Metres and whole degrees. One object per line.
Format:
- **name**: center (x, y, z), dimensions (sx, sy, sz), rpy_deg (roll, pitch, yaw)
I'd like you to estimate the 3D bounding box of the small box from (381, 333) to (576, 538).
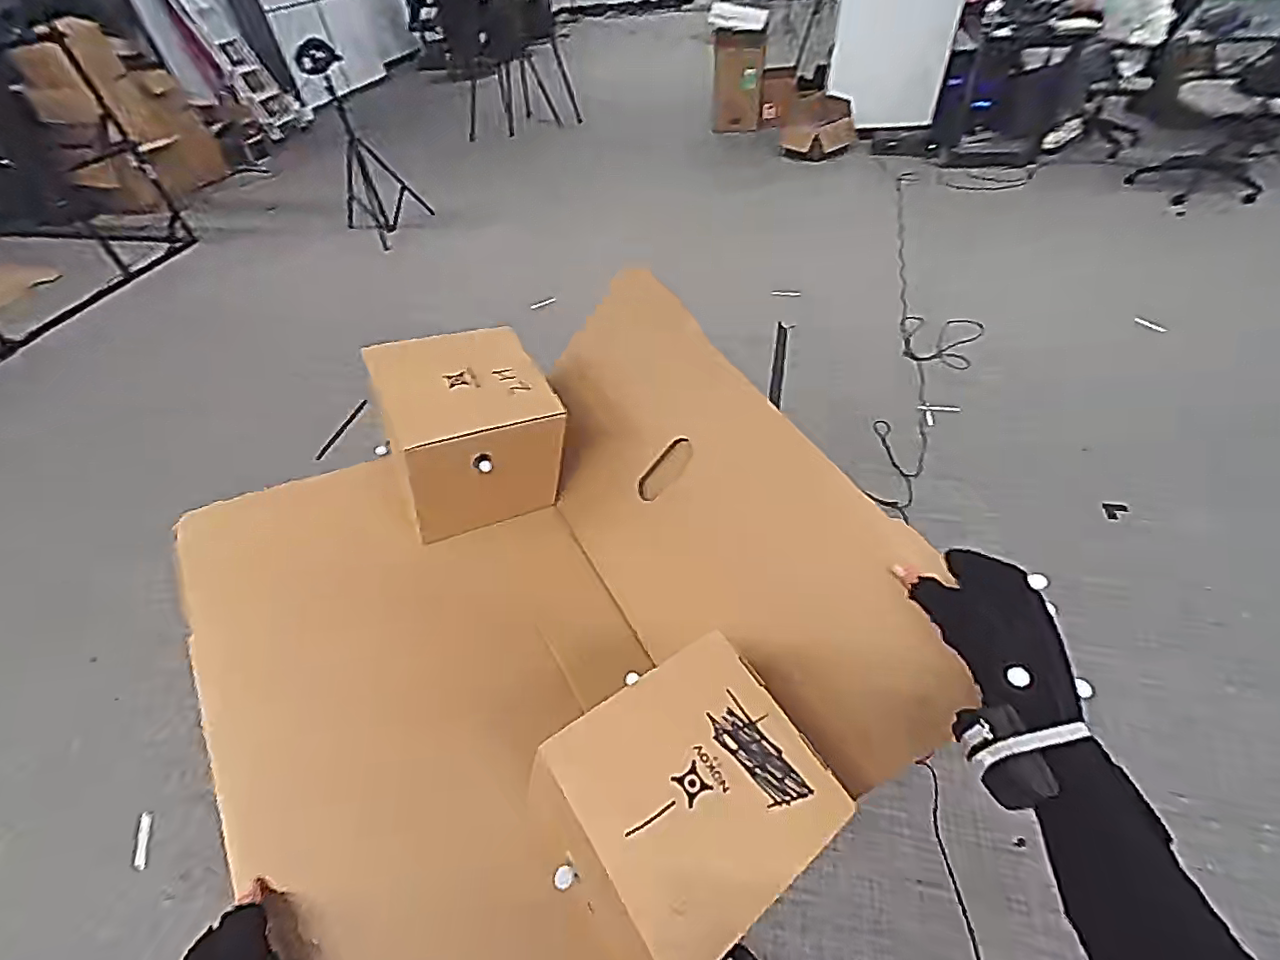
- **small box**: center (-0.195, -0.053, 0.660), dimensions (0.179, 0.176, 0.168), rpy_deg (-16, 56, -26)
